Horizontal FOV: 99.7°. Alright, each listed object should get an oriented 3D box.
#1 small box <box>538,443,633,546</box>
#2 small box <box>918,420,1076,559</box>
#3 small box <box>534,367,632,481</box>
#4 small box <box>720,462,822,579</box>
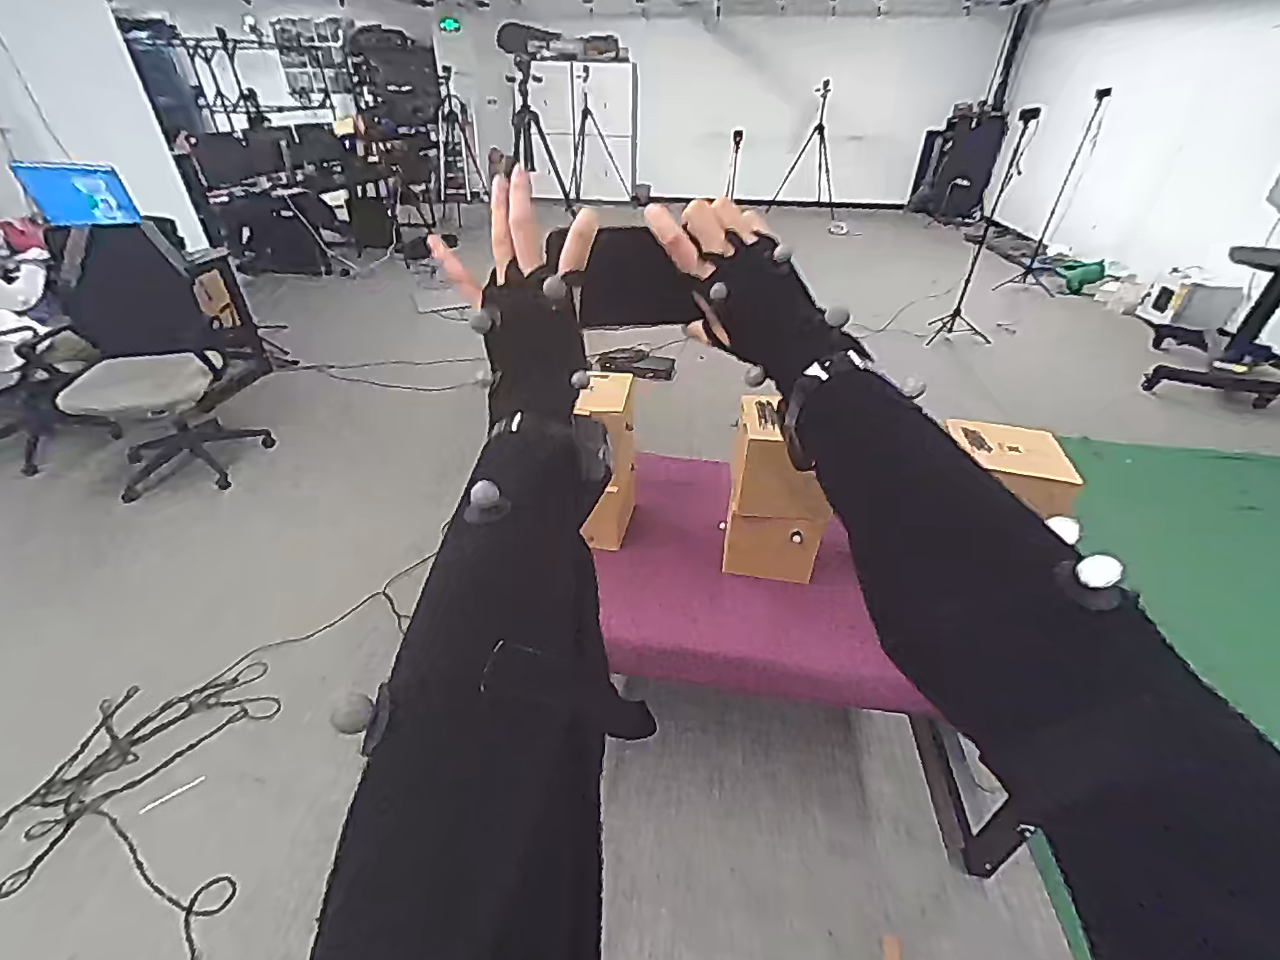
[{"bbox_3d":[-0.112,0.023,1.196,0.168,0.176,0.179,8,36,9],"label":"small box"},{"bbox_3d":[0.606,0.016,0.950,0.179,0.176,0.168,12,37,13],"label":"small box"},{"bbox_3d":[-0.108,-0.114,1.106,0.168,0.176,0.179,5,37,4],"label":"small box"},{"bbox_3d":[0.267,0.085,1.121,0.179,0.176,0.168,7,36,9],"label":"small box"}]
